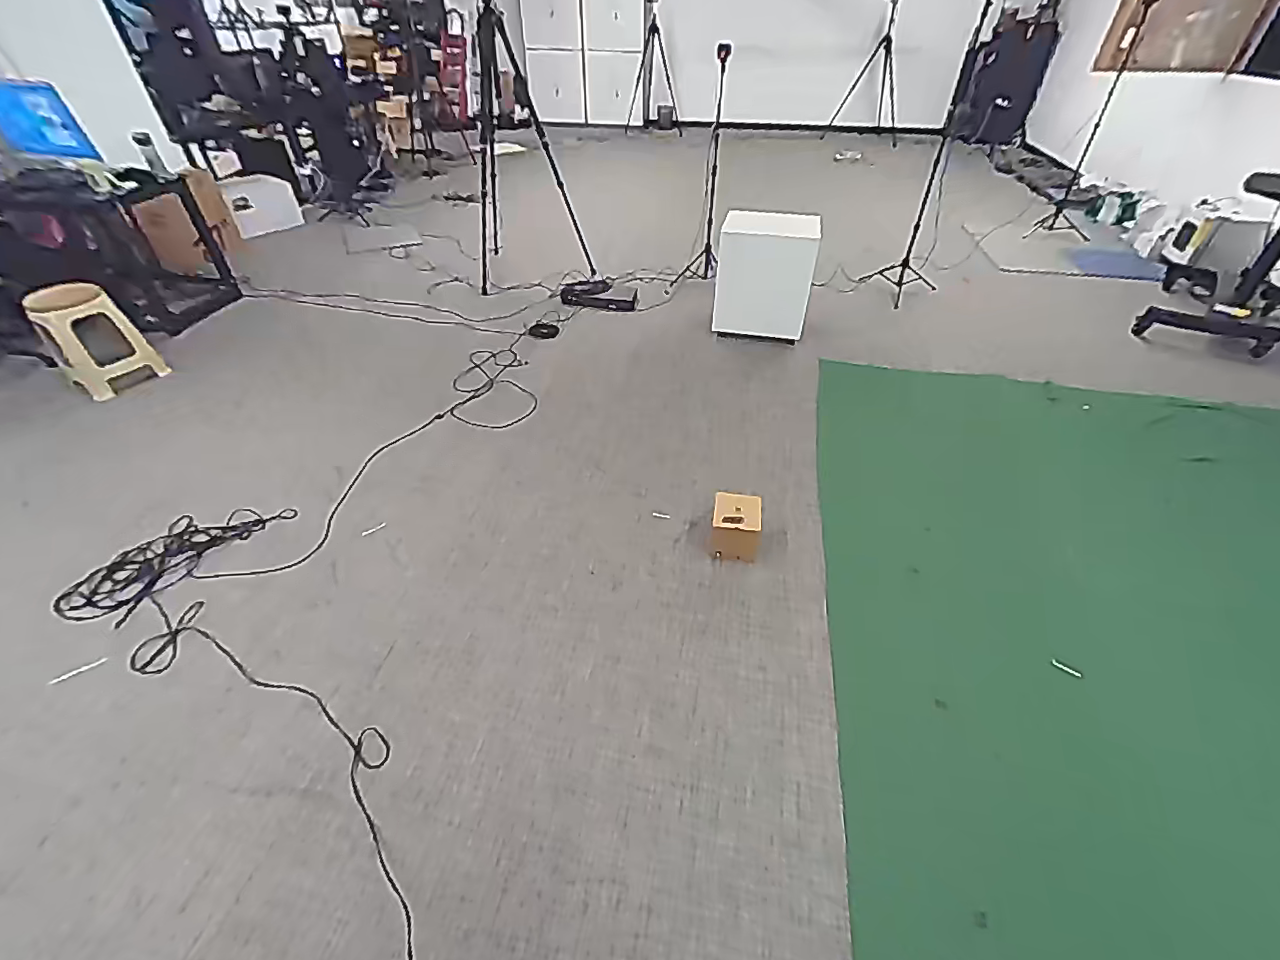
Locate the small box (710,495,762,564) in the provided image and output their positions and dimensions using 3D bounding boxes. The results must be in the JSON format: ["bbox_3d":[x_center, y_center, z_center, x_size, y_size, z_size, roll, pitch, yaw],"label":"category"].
[{"bbox_3d":[0.343,0.180,1.942,0.168,0.176,0.179,7,41,7],"label":"small box"}]
